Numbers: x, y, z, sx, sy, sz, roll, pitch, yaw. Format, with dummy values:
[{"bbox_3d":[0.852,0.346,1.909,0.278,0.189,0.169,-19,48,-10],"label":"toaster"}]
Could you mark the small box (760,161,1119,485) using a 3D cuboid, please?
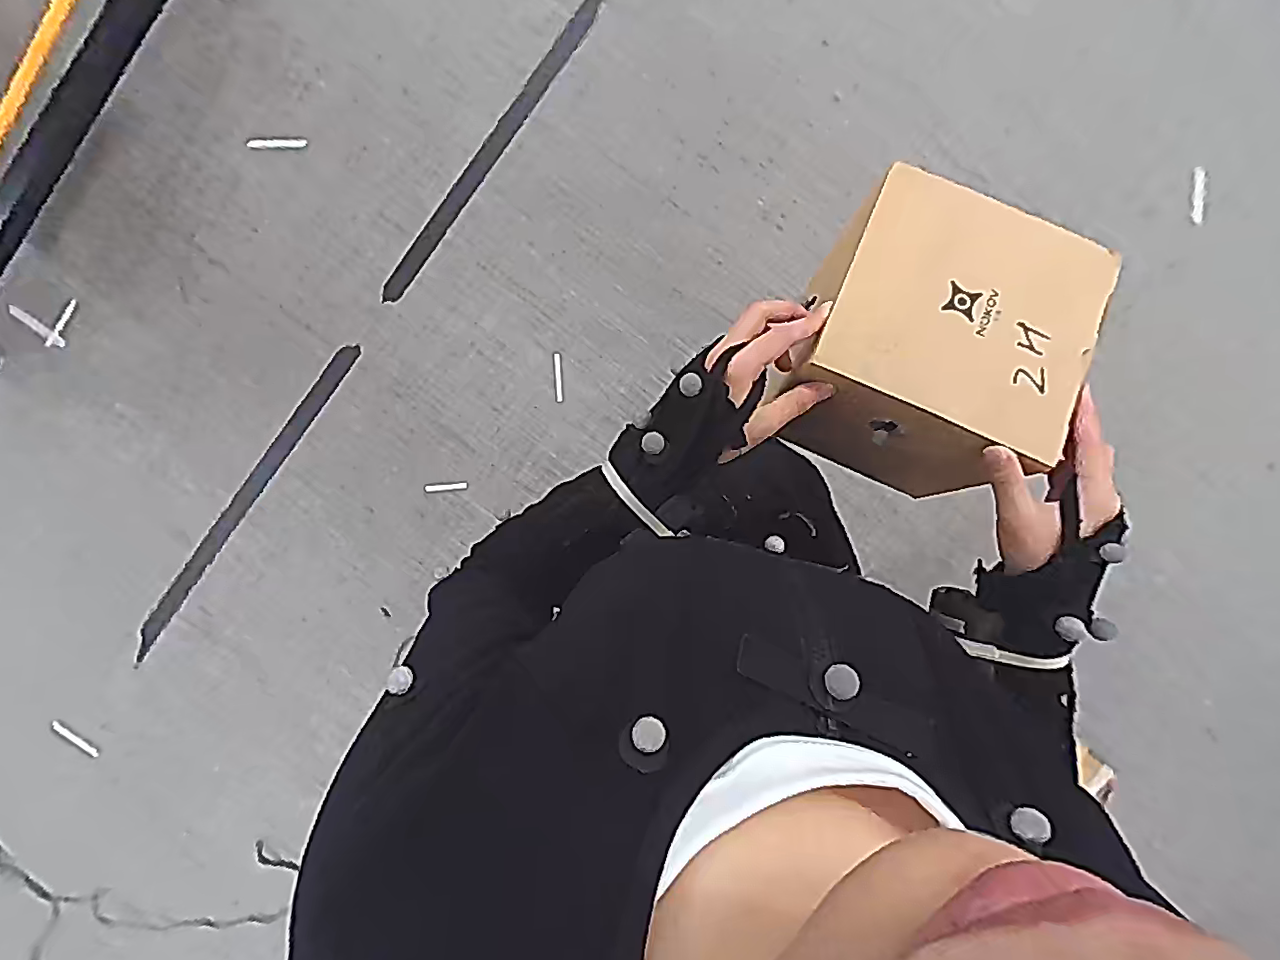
[{"bbox_3d":[0.218,-0.106,0.443,0.179,0.176,0.168,23,82,1],"label":"small box"}]
